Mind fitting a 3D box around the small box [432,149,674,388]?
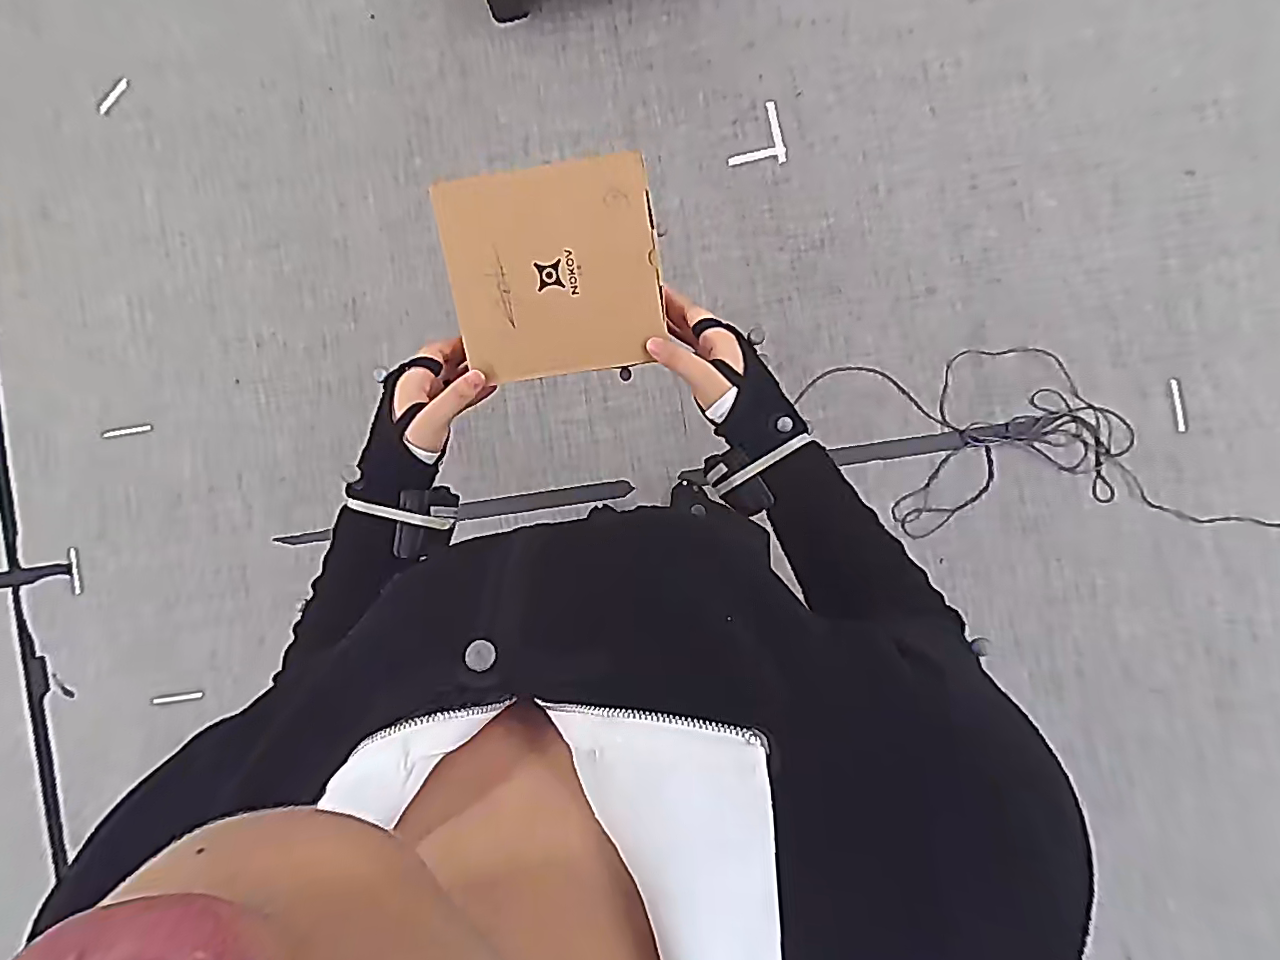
[{"bbox_3d":[-0.068,-0.188,0.521,0.179,0.176,0.168,-9,102,3],"label":"small box"}]
